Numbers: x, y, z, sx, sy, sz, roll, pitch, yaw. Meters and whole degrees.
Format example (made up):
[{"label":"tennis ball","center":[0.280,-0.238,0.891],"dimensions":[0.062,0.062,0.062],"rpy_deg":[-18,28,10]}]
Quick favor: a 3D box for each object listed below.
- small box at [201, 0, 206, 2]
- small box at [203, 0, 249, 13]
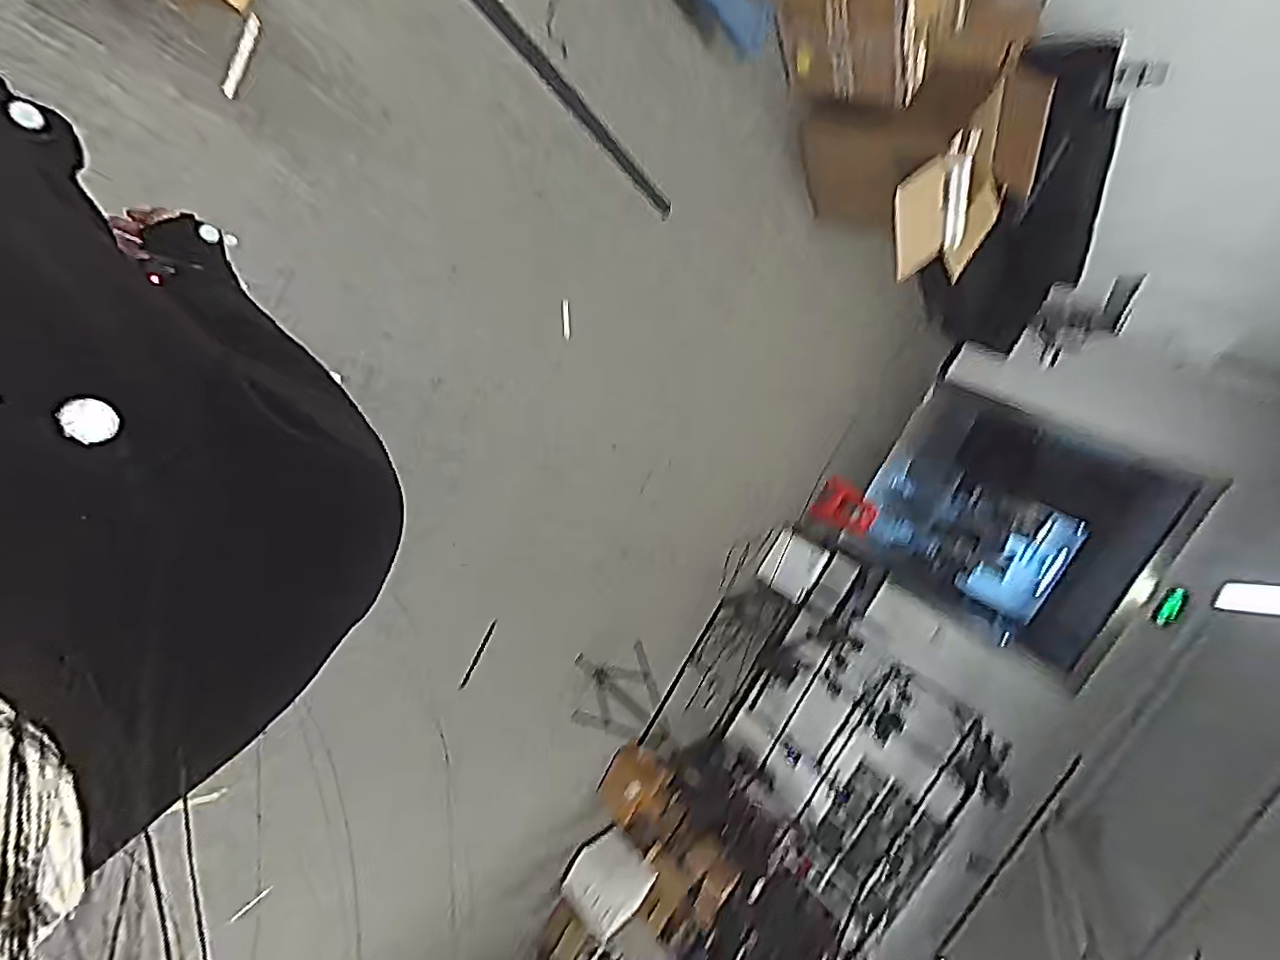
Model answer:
[{"label":"small box","center":[-0.648,-0.767,0.694],"dimensions":[0.179,0.176,0.168],"rpy_deg":[18,105,-58]},{"label":"small box","center":[-0.533,-0.686,0.609],"dimensions":[0.168,0.176,0.179],"rpy_deg":[-59,150,5]}]
